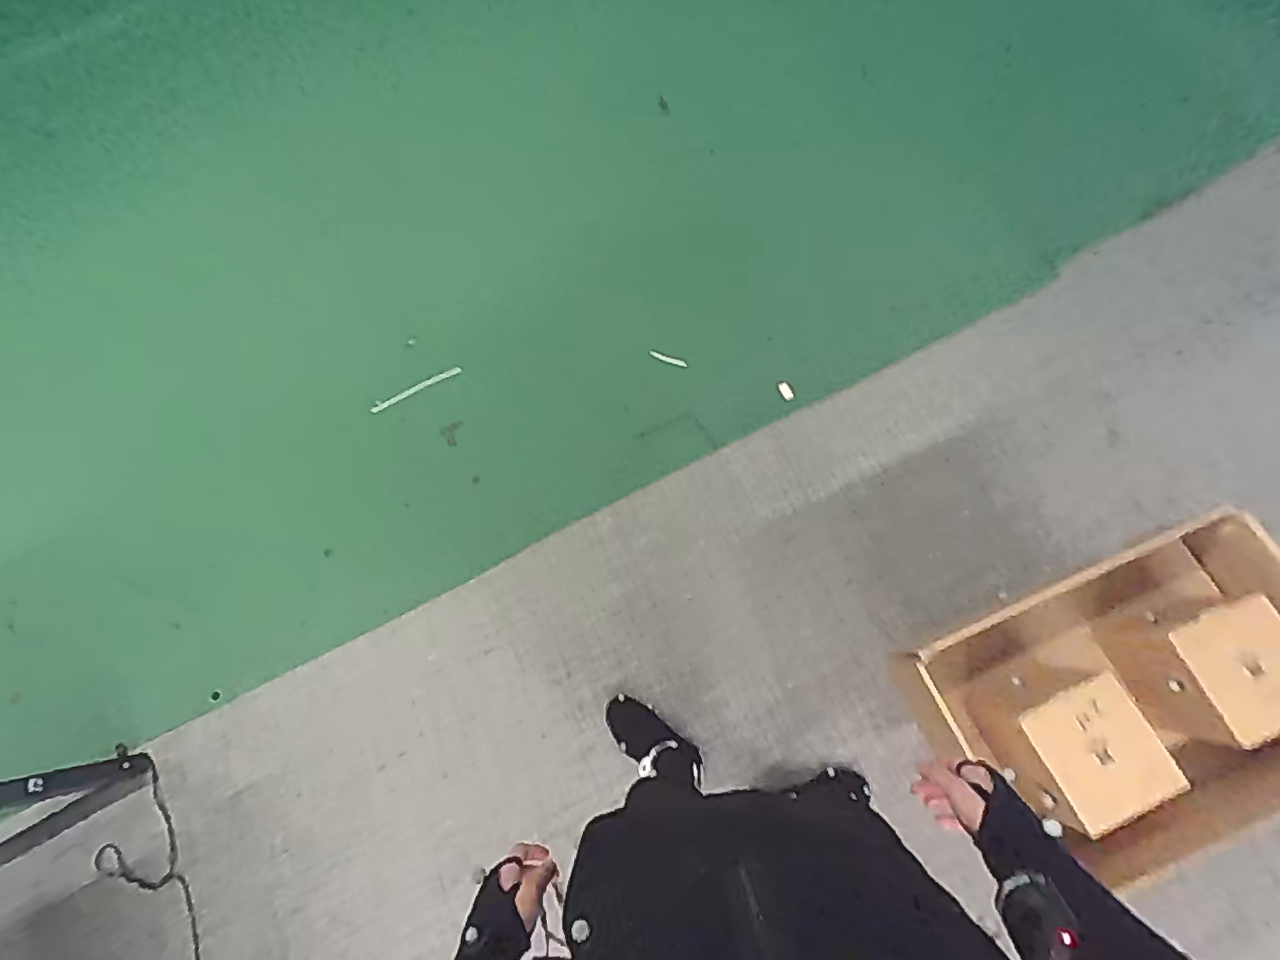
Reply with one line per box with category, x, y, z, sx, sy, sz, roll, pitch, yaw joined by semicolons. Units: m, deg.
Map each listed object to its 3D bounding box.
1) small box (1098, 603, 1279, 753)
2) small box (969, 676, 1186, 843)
small box;0.926;0.319;0.892;0.168;0.176;0.179;-22;73;-1
small box;0.685;0.435;0.874;0.168;0.176;0.179;-25;72;-3
